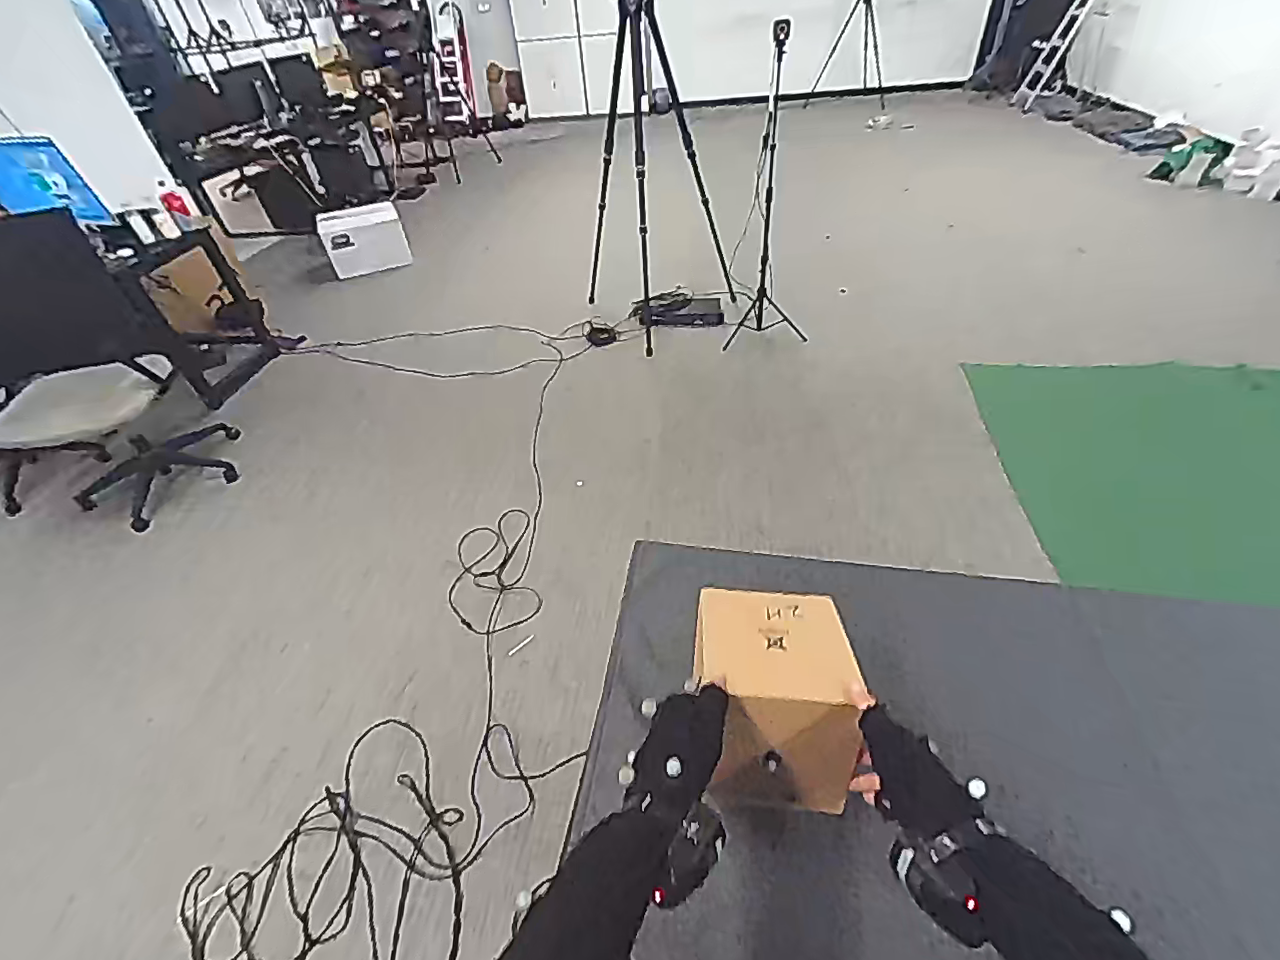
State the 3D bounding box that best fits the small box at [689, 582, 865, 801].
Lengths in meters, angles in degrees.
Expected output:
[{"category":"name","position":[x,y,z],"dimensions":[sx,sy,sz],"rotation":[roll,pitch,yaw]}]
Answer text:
[{"category":"small box","position":[0.147,0.245,0.641],"dimensions":[0.168,0.176,0.179],"rotation":[4,24,4]}]
